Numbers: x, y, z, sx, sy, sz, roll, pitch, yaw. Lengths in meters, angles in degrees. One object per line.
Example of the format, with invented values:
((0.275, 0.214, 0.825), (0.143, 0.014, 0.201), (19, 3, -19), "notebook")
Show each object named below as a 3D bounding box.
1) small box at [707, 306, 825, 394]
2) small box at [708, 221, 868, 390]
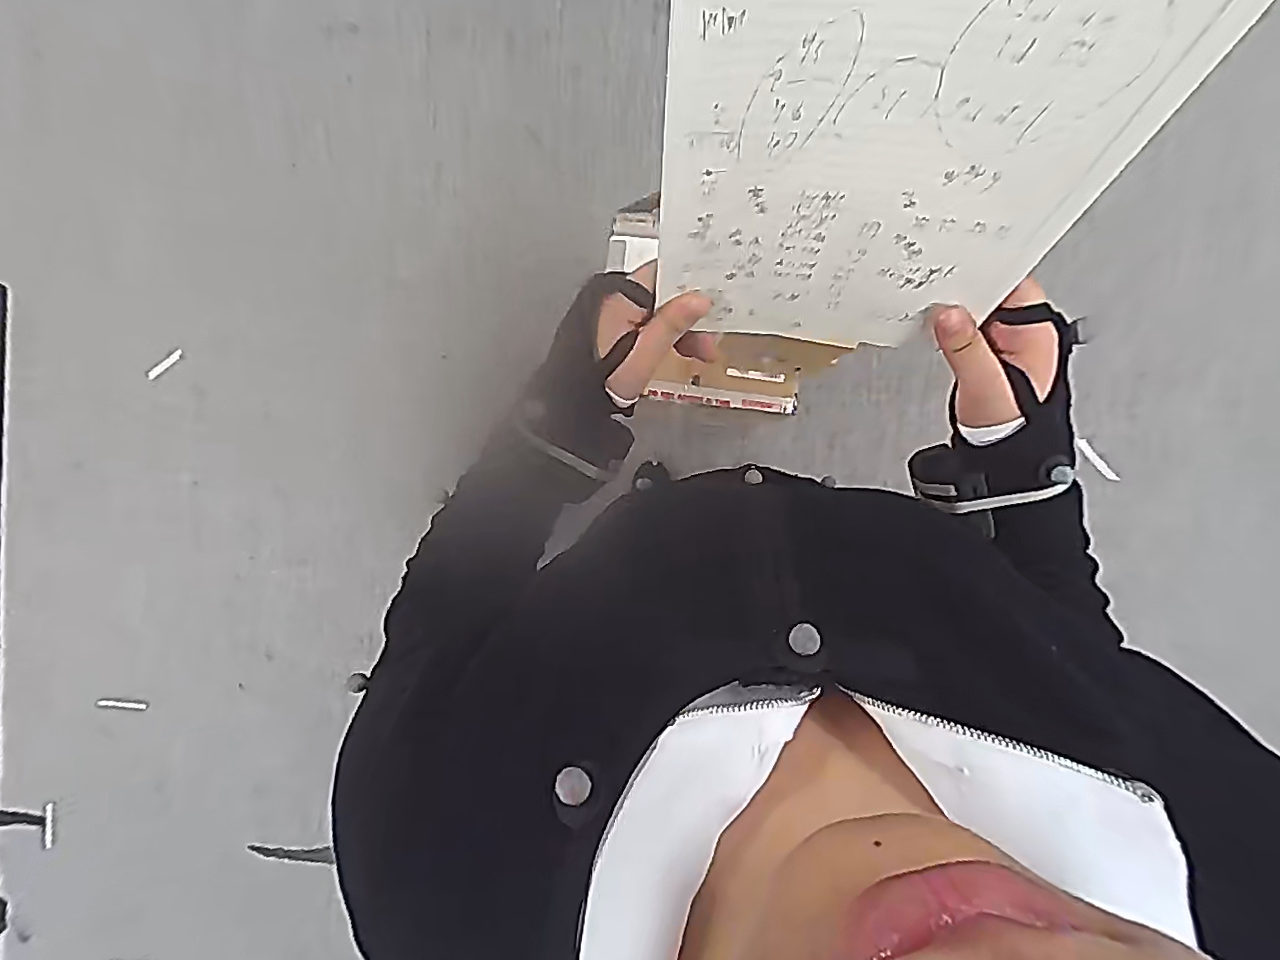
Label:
((0.219, -0.244, 0.936), (0.179, 0.176, 0.168), (6, 93, 1), "small box")
((0.197, -0.235, 0.771), (0.168, 0.176, 0.179), (10, 94, 0), "small box")
